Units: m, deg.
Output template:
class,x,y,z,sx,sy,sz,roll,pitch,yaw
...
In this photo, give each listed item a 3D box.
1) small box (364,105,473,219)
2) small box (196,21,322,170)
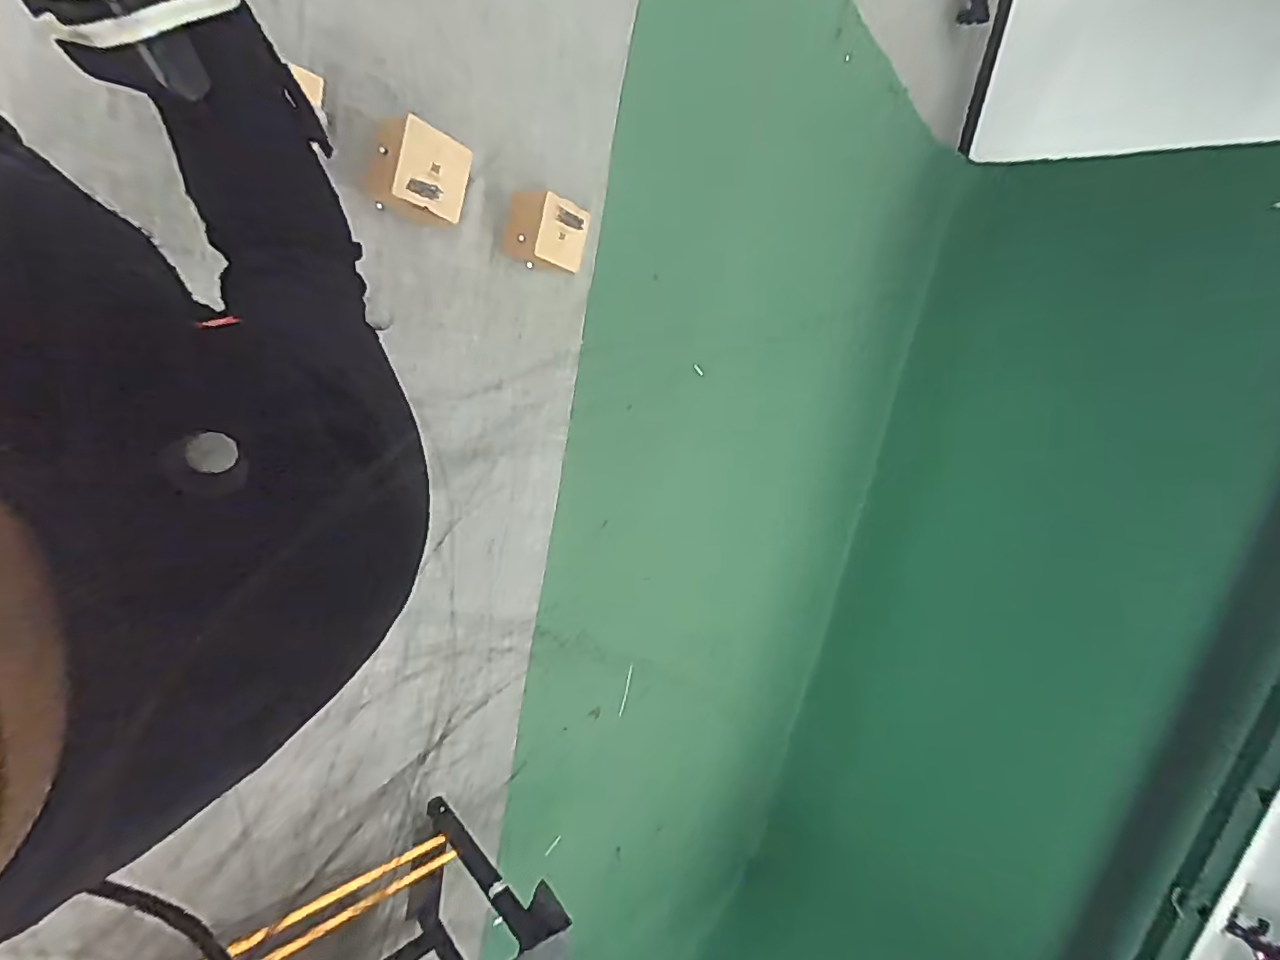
class,x,y,z,sx,sy,sz,roll,pitch,yaw
small box,-0.529,-0.738,1.280,0.168,0.176,0.179,7,101,-50
small box,-0.741,-0.727,1.048,0.168,0.176,0.179,-2,109,-48
